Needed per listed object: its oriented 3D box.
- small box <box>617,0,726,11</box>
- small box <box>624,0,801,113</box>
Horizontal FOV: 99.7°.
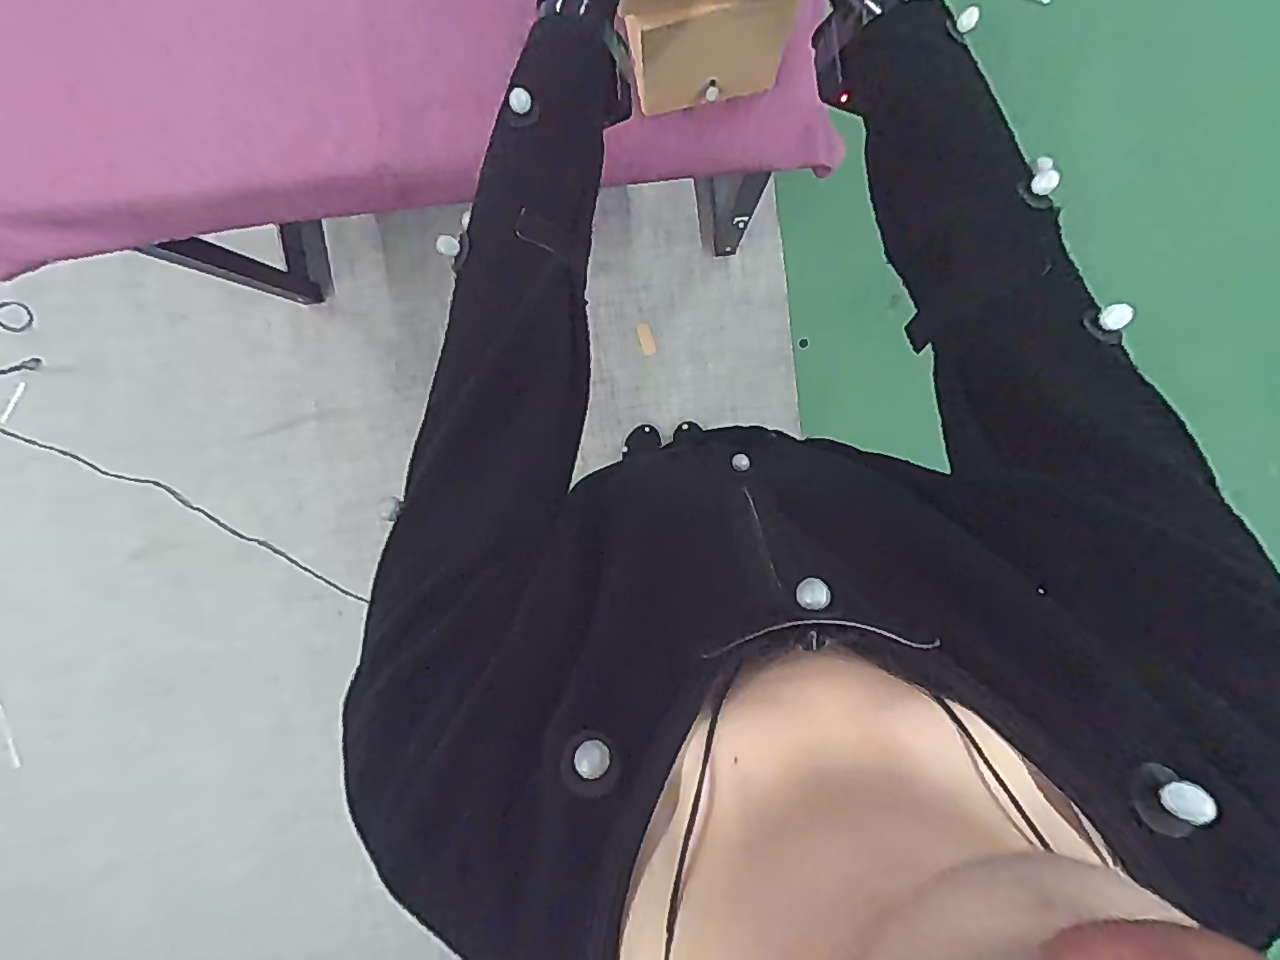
[{"bbox_3d":[0.053,-0.560,0.468,0.179,0.176,0.168,-4,96,3],"label":"small box"},{"bbox_3d":[0.072,-0.571,0.629,0.179,0.176,0.168,-11,95,3],"label":"small box"}]
